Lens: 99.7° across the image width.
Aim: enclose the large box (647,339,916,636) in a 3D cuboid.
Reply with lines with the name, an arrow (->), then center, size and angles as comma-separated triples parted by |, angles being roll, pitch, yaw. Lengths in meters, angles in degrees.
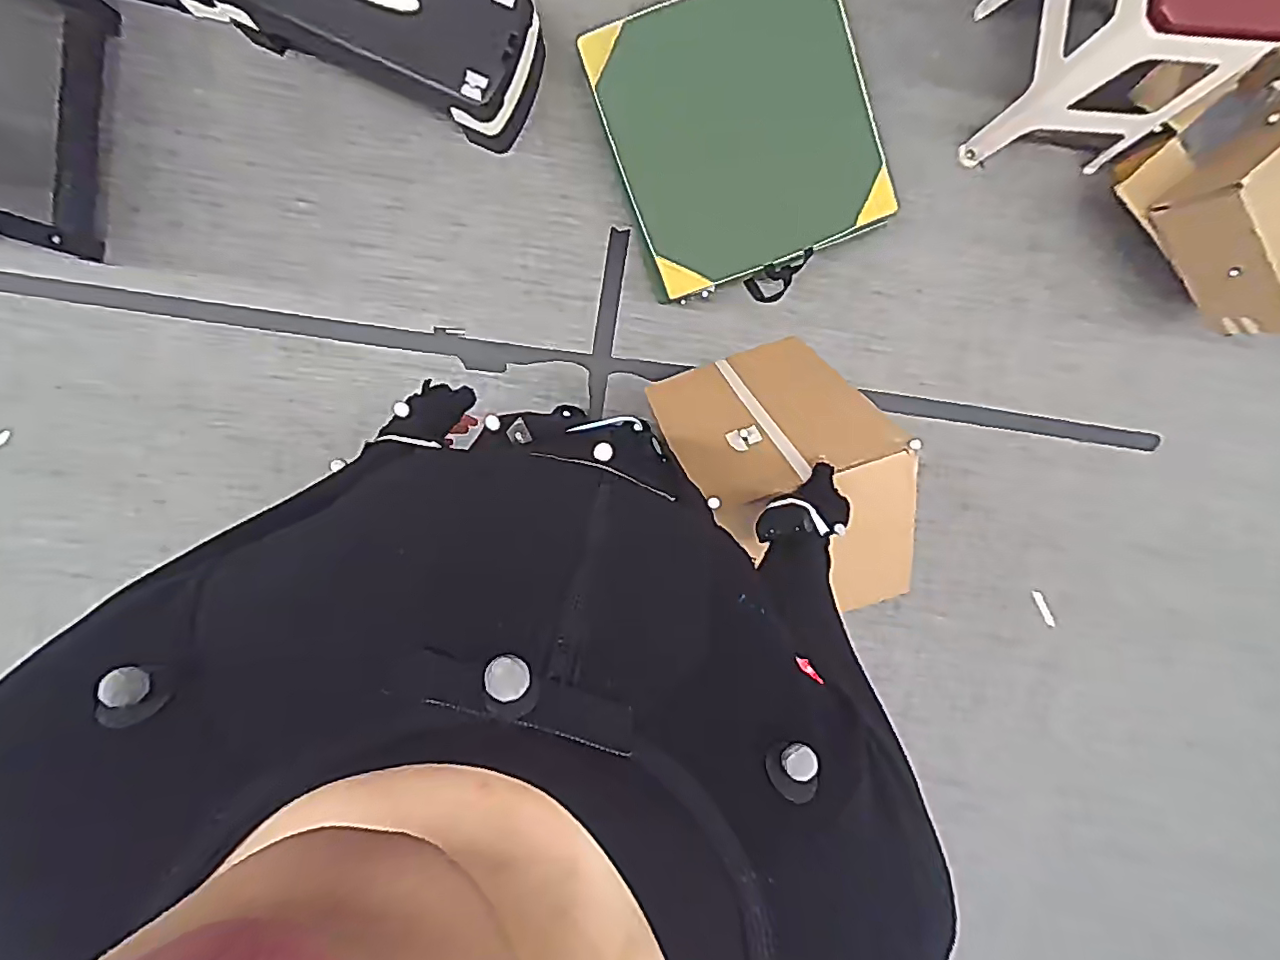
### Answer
large box -> 0.235, -0.001, 0.991 | 0.320, 0.408, 0.320 | -20, 129, 1
